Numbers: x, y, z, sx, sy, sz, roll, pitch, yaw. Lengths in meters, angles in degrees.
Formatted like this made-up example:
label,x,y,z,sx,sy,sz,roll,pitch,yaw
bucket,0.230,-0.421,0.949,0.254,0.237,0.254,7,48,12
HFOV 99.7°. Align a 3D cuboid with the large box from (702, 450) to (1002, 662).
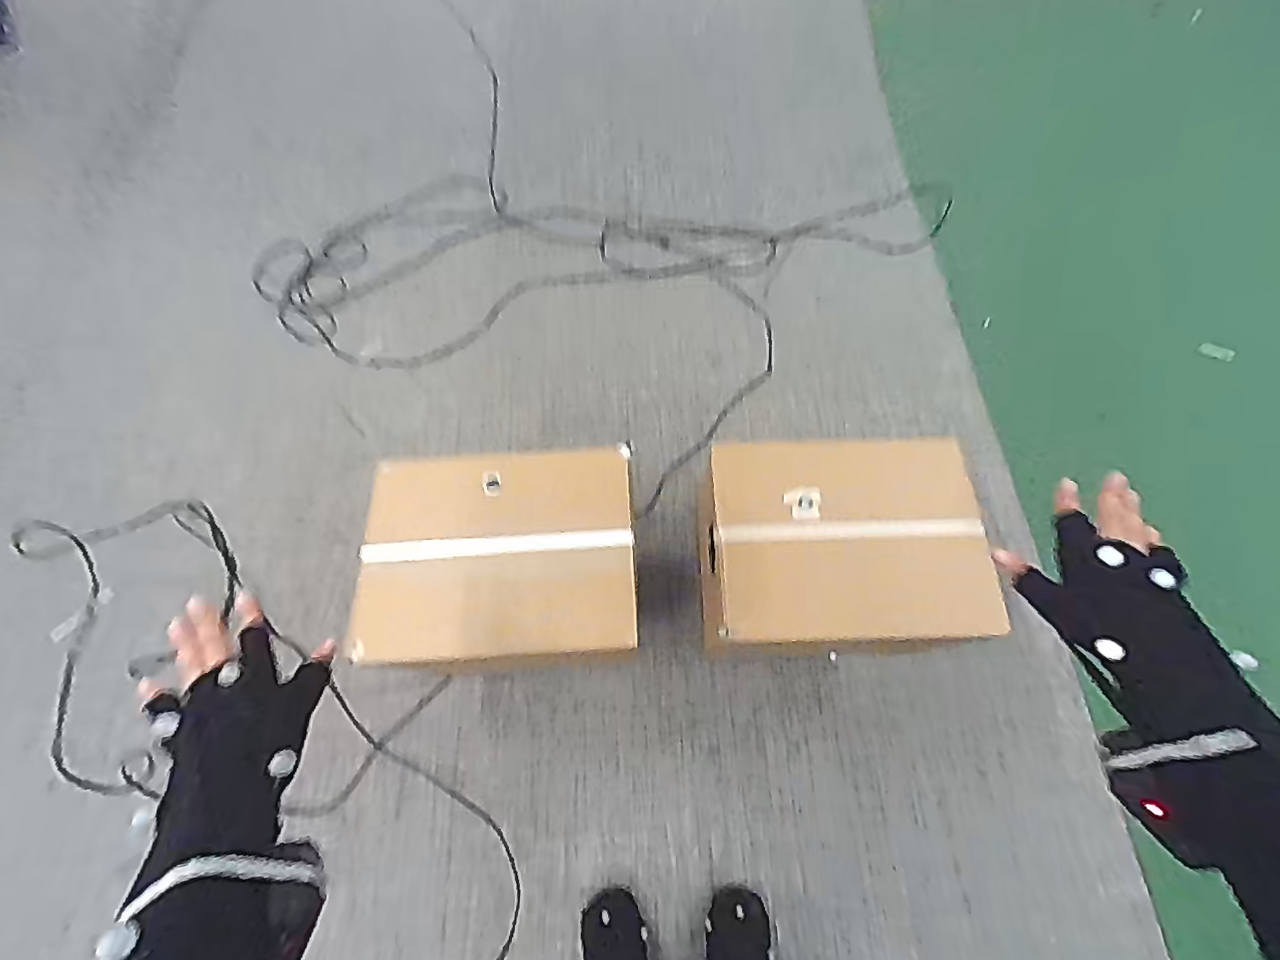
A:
label,x,y,z,sx,sy,sz,roll,pitch,yaw
large box,0.332,0.155,0.979,0.408,0.320,0.320,-1,66,1
